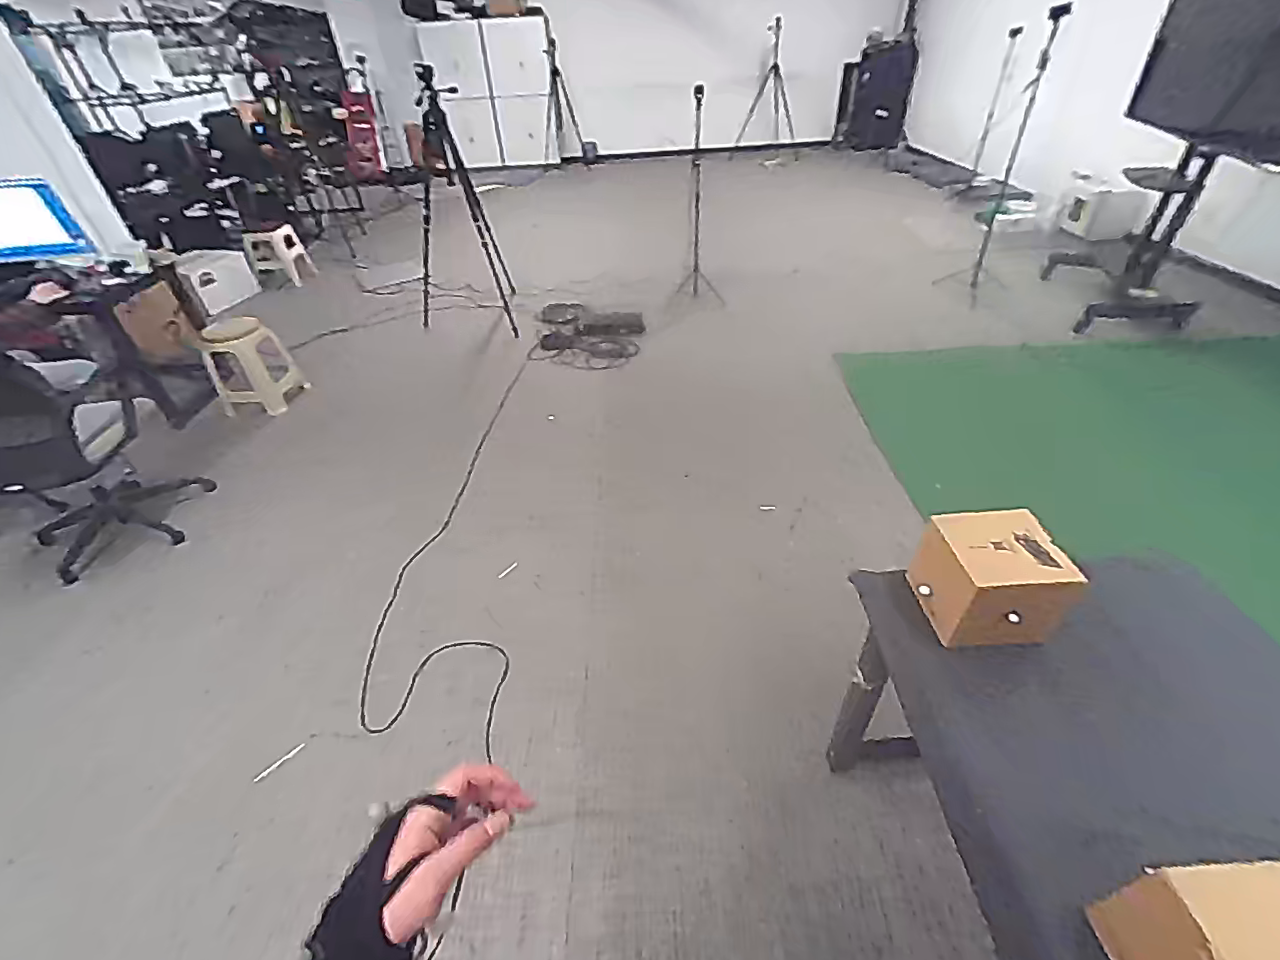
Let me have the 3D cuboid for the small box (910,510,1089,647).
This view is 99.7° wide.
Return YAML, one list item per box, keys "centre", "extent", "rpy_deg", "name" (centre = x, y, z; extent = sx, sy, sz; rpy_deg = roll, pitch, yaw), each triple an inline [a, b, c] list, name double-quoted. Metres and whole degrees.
- centre: [0.604, 0.171, 0.937]
  extent: [0.179, 0.176, 0.168]
  rpy_deg: [-3, 39, 1]
  name: "small box"

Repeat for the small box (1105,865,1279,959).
- centre: [0.619, 0.503, 0.534]
  extent: [0.179, 0.176, 0.168]
  rpy_deg: [-2, 40, -1]
  name: "small box"
